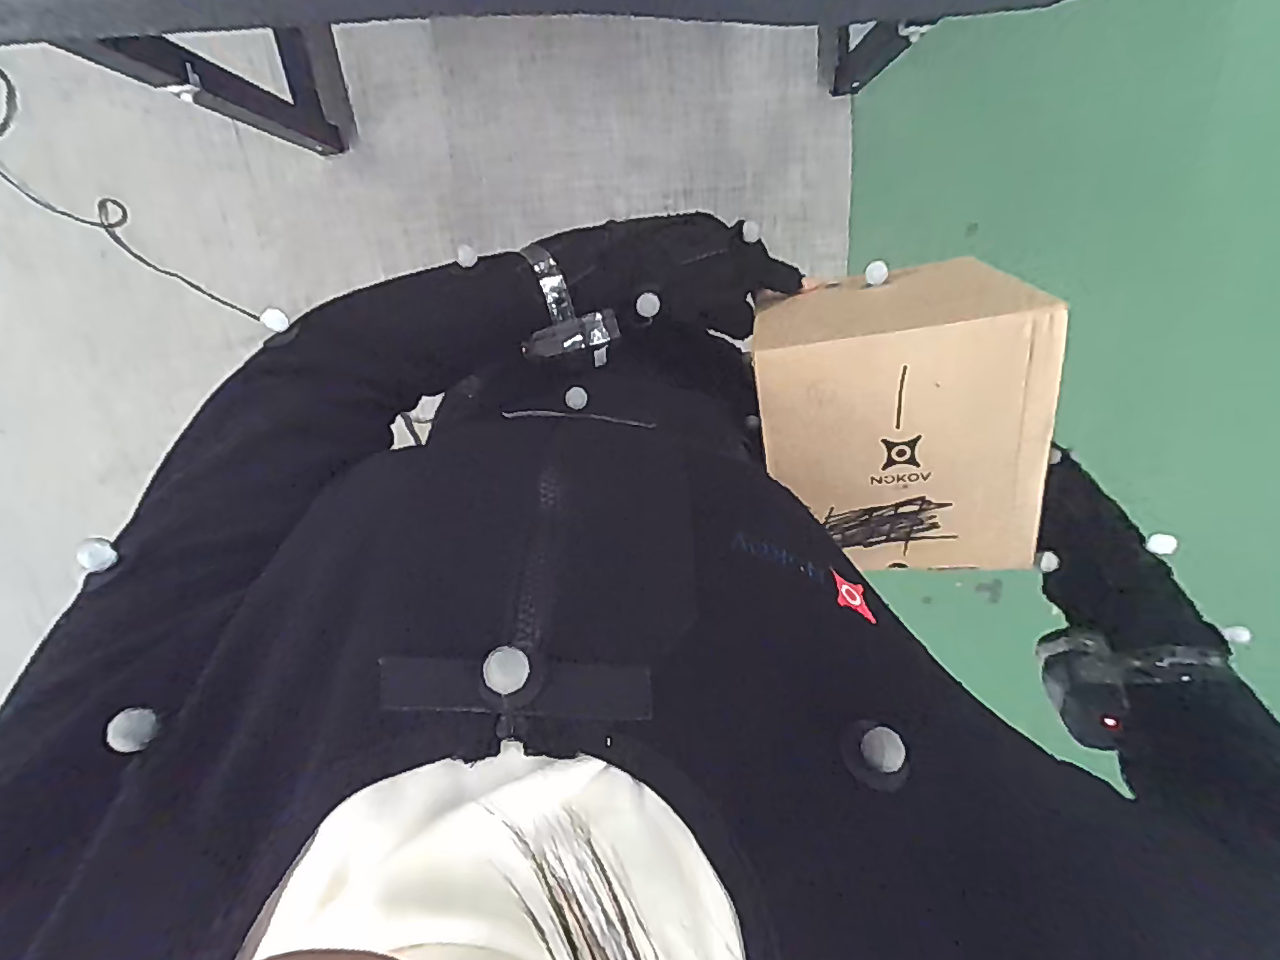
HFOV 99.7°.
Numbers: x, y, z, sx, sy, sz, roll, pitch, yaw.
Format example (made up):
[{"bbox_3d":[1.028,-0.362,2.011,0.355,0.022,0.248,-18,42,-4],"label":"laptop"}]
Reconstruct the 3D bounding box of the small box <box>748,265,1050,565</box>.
[{"bbox_3d":[0.176,-0.054,0.422,0.168,0.176,0.179,-4,118,15],"label":"small box"}]
